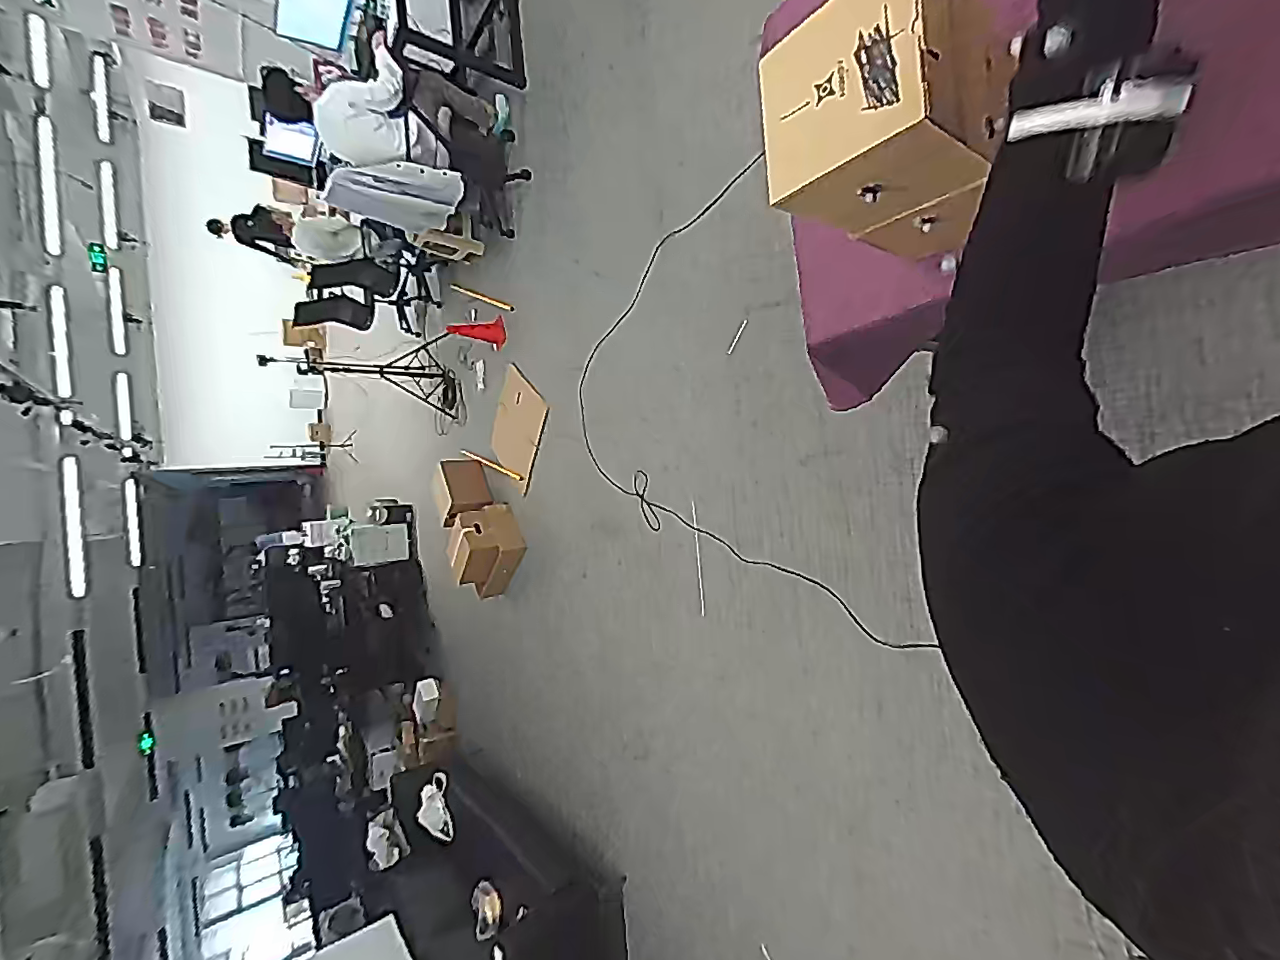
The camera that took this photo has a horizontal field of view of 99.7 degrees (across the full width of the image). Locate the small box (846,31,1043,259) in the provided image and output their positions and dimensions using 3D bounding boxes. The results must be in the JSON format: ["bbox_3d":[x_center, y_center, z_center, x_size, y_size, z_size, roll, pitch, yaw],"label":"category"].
[{"bbox_3d":[0.384,-0.404,0.696,0.179,0.176,0.168,-4,91,52],"label":"small box"}]

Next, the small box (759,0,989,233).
[{"bbox_3d":[0.258,-0.397,0.592,0.179,0.176,0.168,-6,90,53],"label":"small box"}]
